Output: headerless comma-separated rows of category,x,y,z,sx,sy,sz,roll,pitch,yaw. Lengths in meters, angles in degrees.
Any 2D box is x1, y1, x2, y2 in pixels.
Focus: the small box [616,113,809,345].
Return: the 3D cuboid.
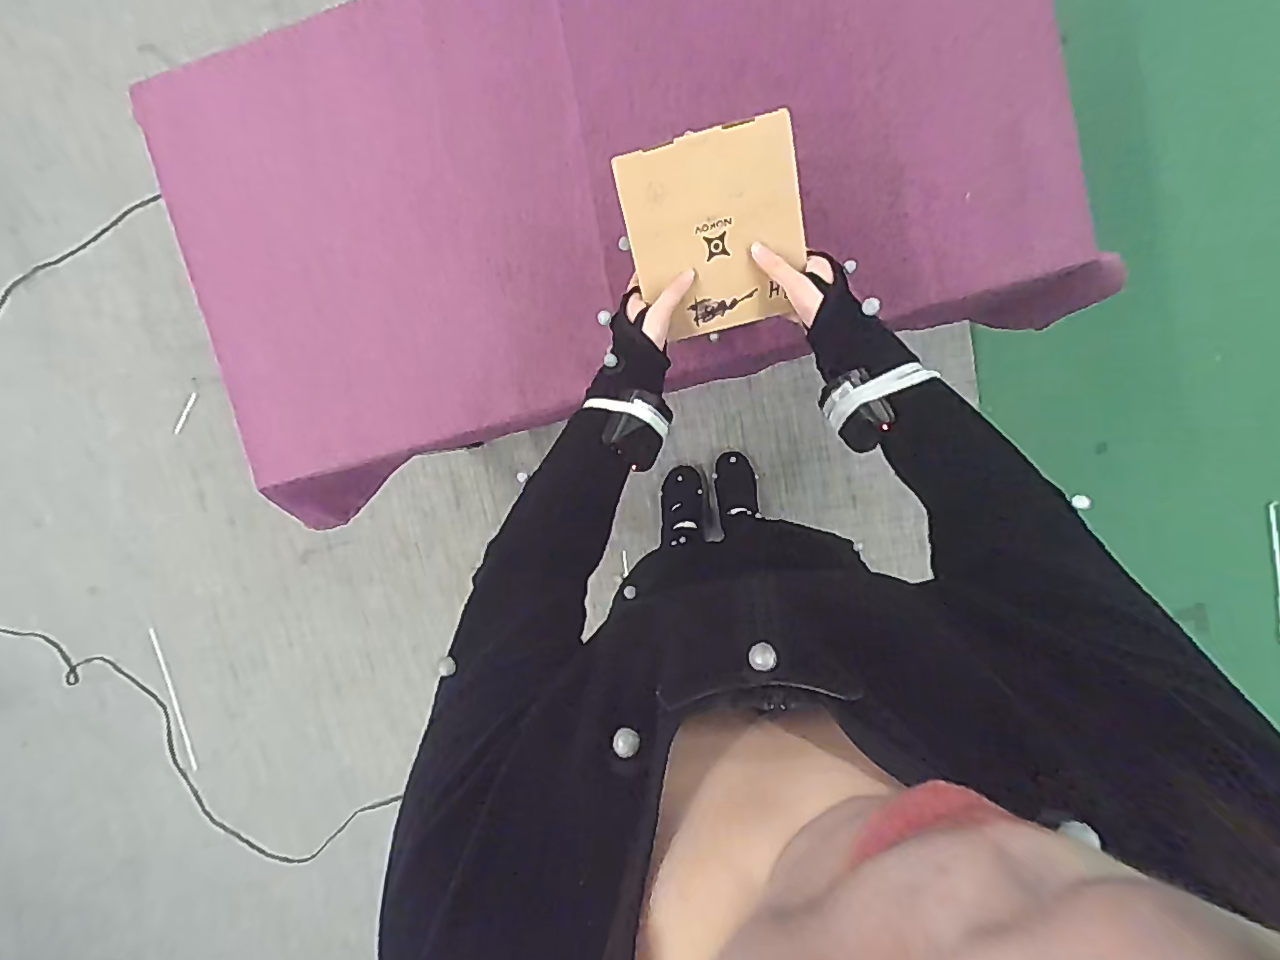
small box,0.074,-0.263,0.590,0.168,0.176,0.179,-11,113,7
